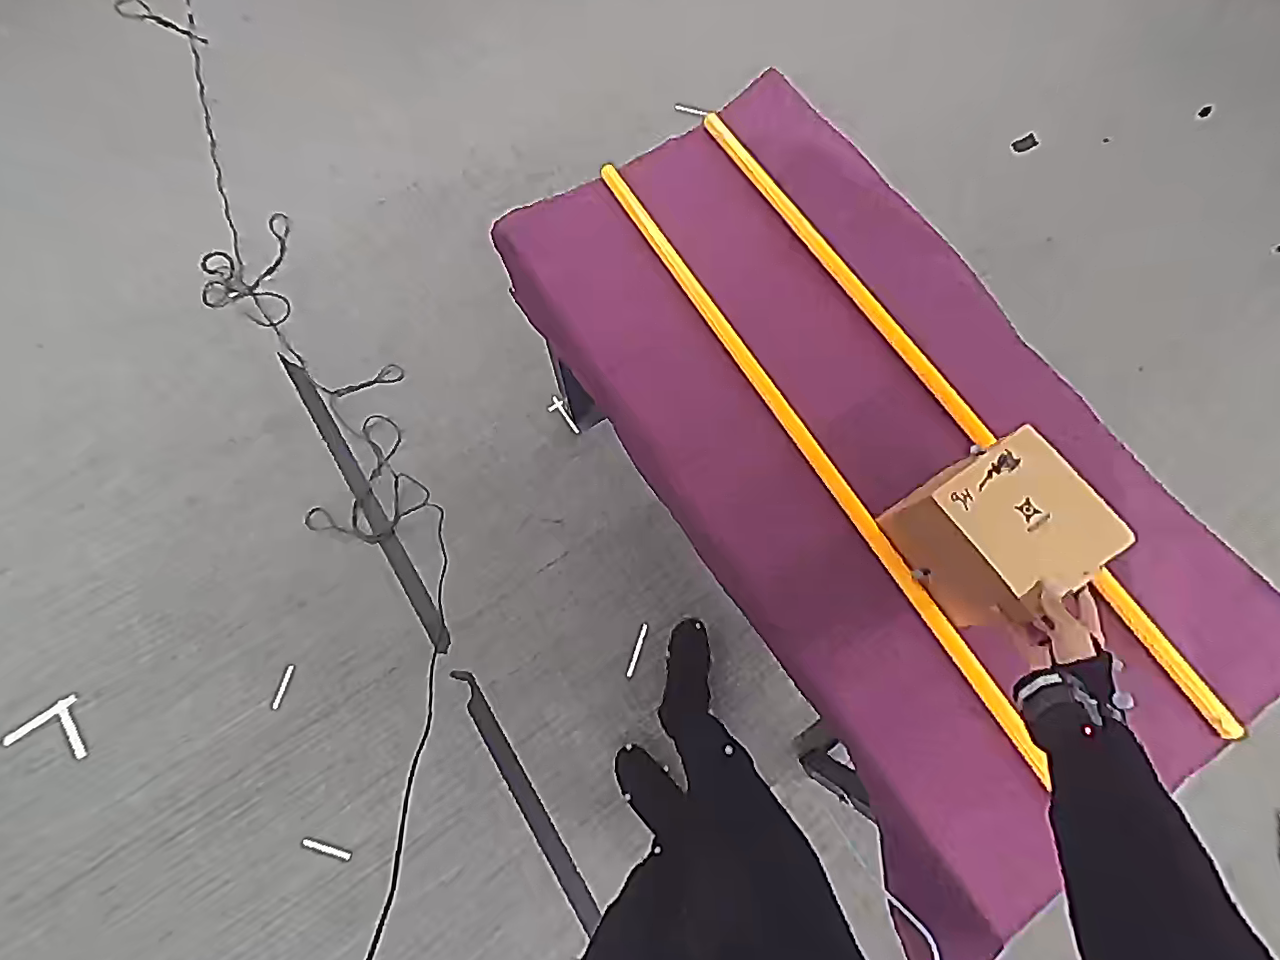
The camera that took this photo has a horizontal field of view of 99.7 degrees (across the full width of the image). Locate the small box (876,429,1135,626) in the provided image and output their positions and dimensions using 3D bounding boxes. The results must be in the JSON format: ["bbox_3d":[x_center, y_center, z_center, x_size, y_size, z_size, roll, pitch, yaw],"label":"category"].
[{"bbox_3d":[0.448,0.069,0.696,0.168,0.176,0.179,-32,77,-10],"label":"small box"}]
